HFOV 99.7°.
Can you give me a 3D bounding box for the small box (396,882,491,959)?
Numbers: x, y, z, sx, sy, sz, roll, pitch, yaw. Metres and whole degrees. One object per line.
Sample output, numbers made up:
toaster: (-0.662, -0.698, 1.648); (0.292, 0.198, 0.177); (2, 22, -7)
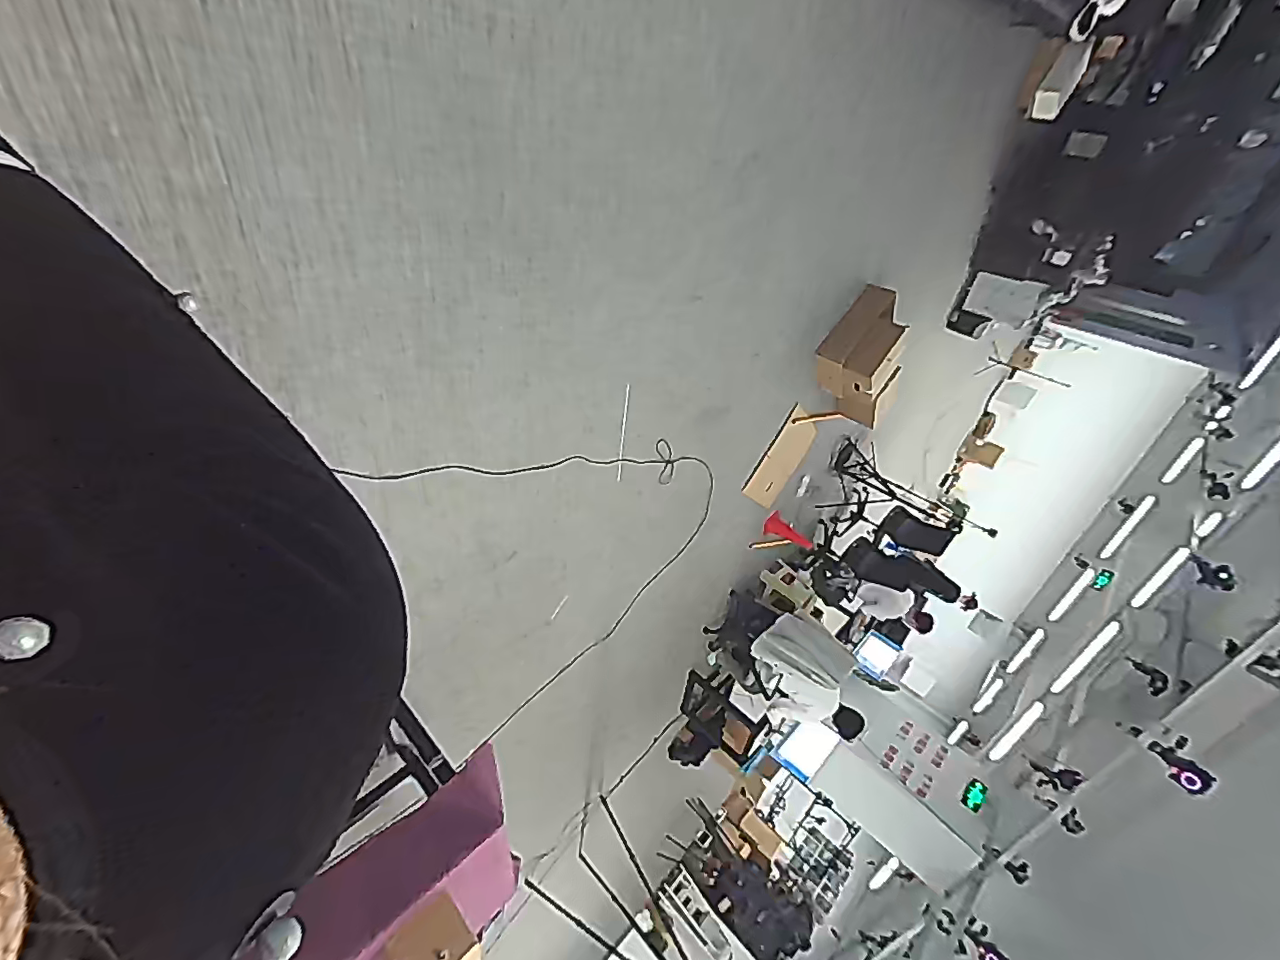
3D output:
small box: (-0.525, 1.239, 1.452); (0.179, 0.176, 0.168); (-26, 137, -39)
